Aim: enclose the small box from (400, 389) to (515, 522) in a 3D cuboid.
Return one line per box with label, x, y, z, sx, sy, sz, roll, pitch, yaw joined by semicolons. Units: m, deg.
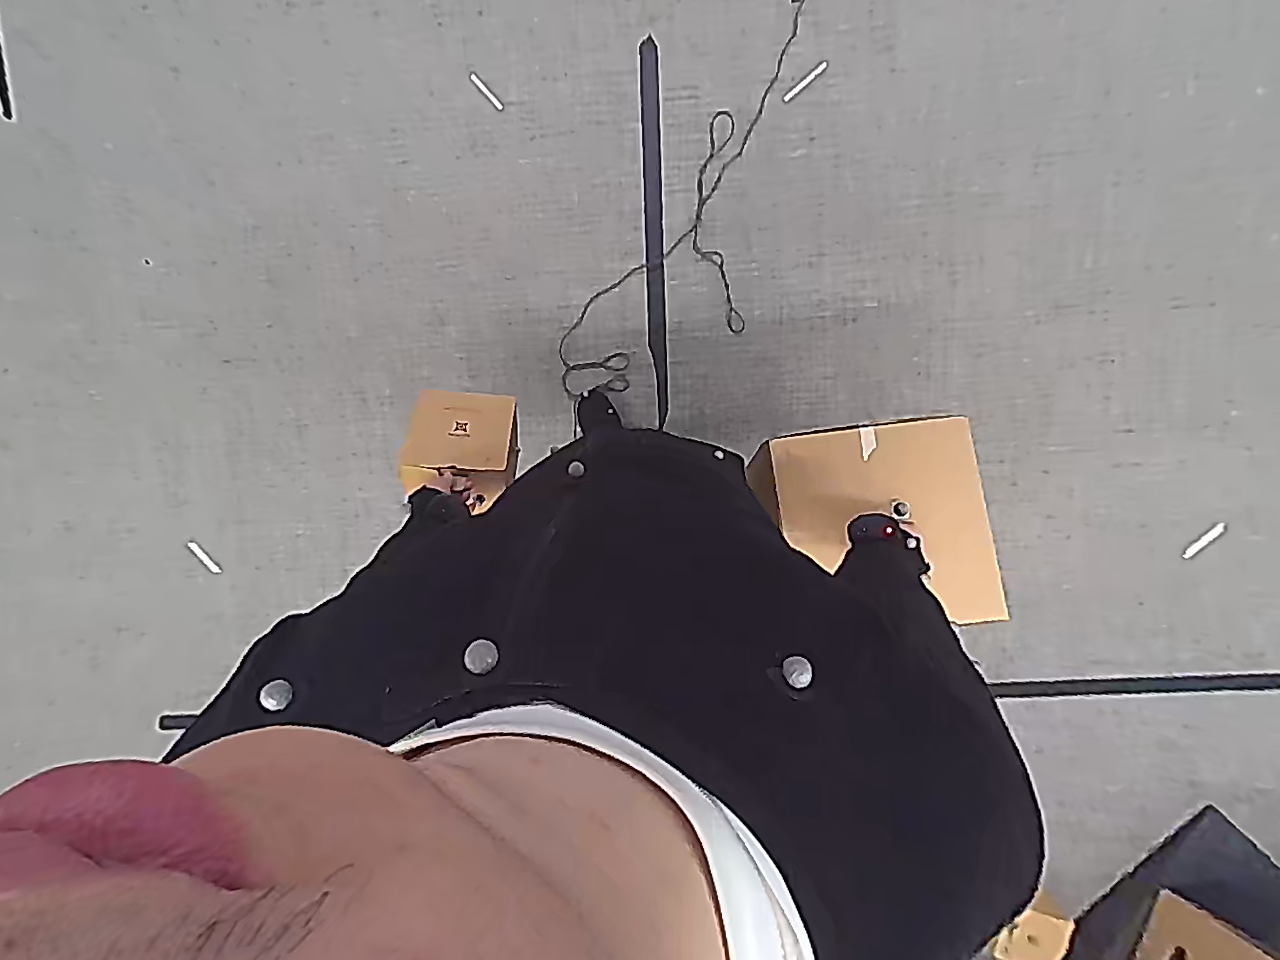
small box;-0.317;-0.038;0.975;0.168;0.176;0.179;4;53;-10
